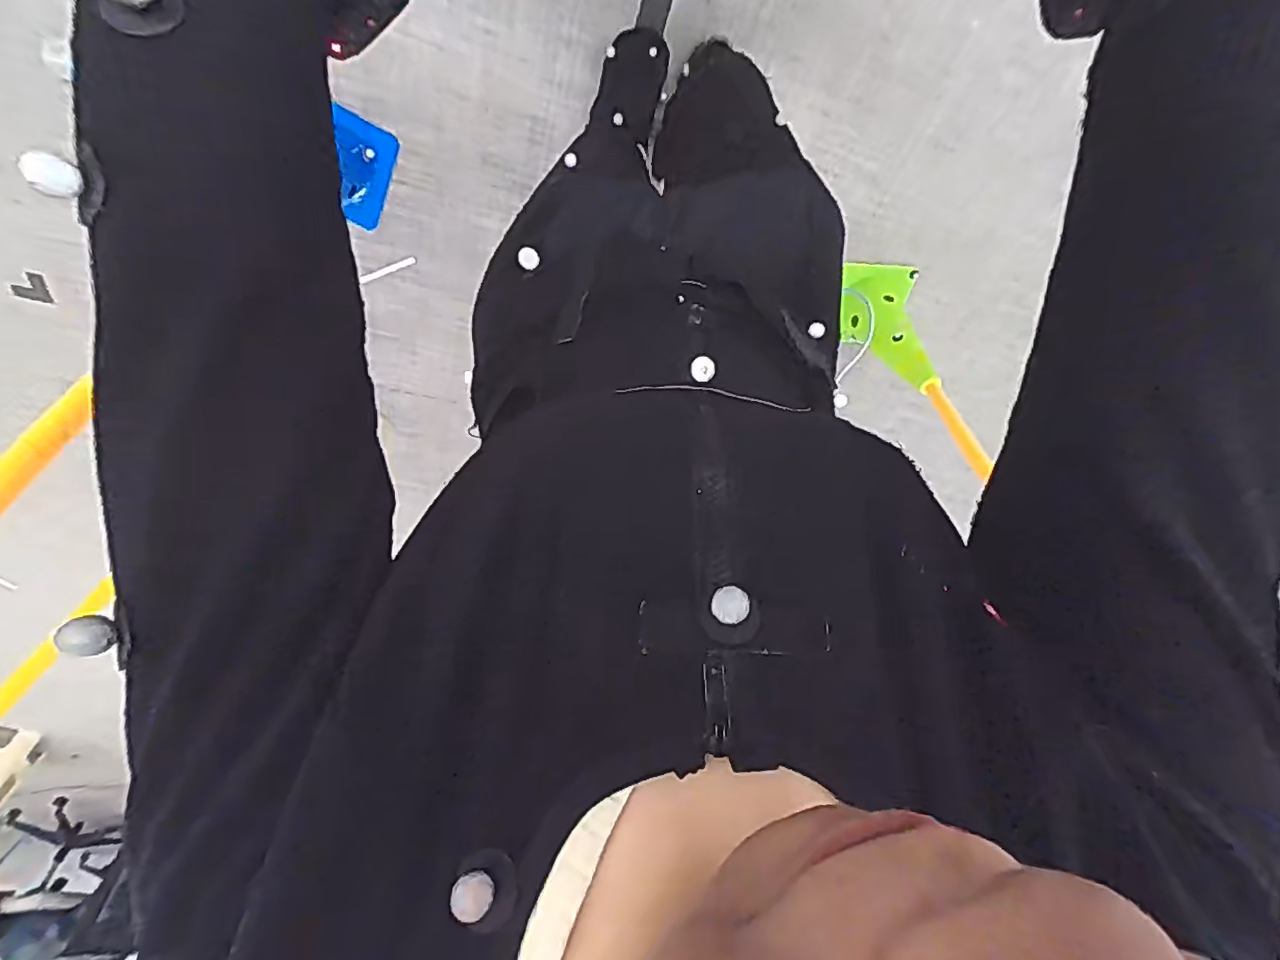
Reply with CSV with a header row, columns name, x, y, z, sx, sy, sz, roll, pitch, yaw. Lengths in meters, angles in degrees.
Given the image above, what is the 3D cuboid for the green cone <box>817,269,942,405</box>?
name,x,y,z,sx,sy,sz,roll,pitch,yaw
green cone,0.557,-0.291,1.183,0.200,0.368,0.202,1,134,-6

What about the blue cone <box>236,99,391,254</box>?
name,x,y,z,sx,sy,sz,roll,pitch,yaw
blue cone,-0.578,-0.482,0.914,0.193,0.380,0.192,23,128,-25
